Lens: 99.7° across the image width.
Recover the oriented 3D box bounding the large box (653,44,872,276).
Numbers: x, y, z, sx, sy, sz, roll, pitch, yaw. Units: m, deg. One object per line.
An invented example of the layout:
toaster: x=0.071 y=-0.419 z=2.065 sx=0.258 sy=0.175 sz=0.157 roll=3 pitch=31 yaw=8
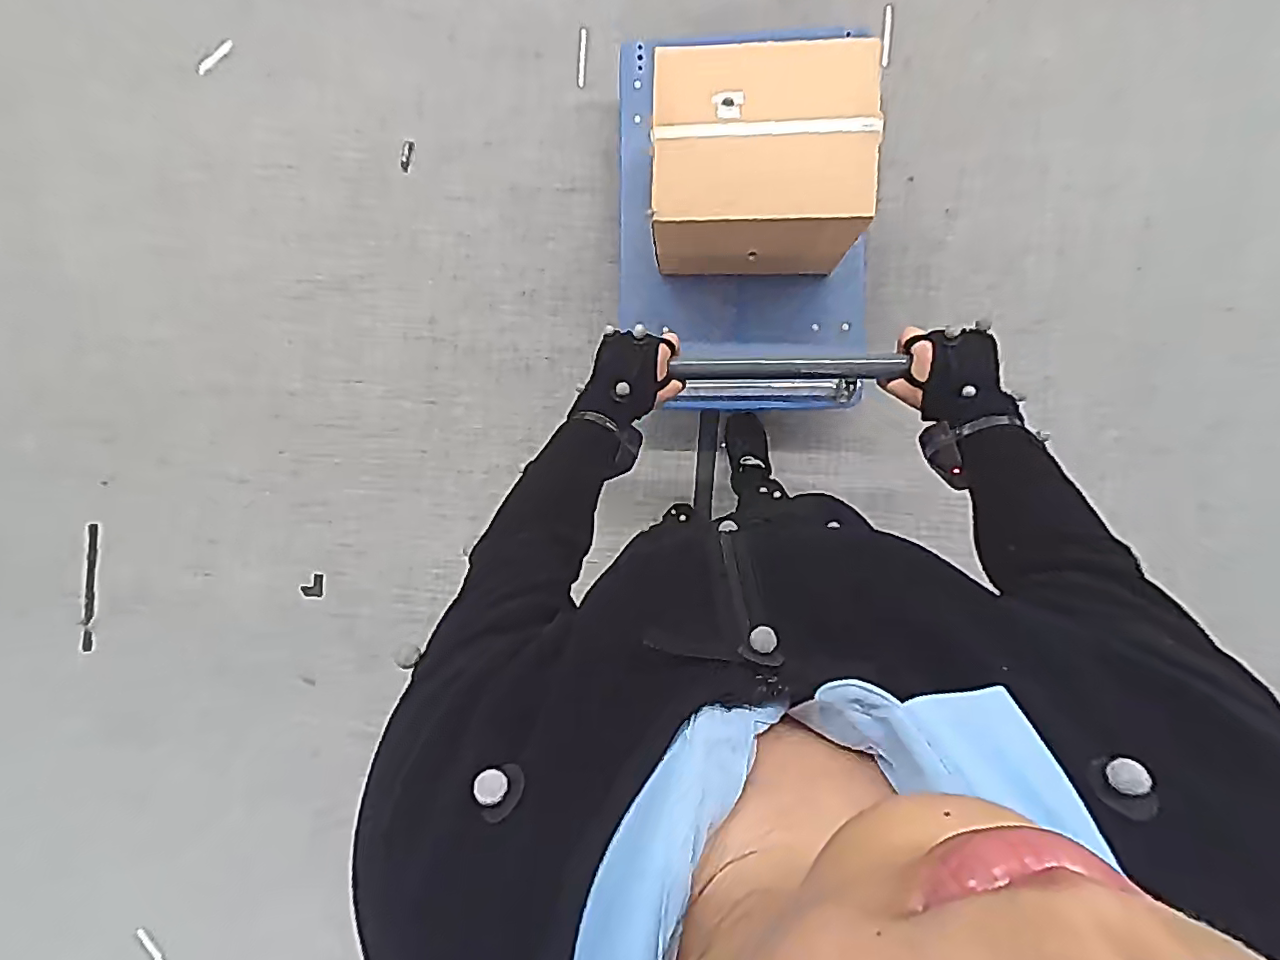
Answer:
large box: x=0.240 y=-0.641 z=1.148 sx=0.408 sy=0.320 sz=0.320 roll=1 pitch=92 yaw=6
